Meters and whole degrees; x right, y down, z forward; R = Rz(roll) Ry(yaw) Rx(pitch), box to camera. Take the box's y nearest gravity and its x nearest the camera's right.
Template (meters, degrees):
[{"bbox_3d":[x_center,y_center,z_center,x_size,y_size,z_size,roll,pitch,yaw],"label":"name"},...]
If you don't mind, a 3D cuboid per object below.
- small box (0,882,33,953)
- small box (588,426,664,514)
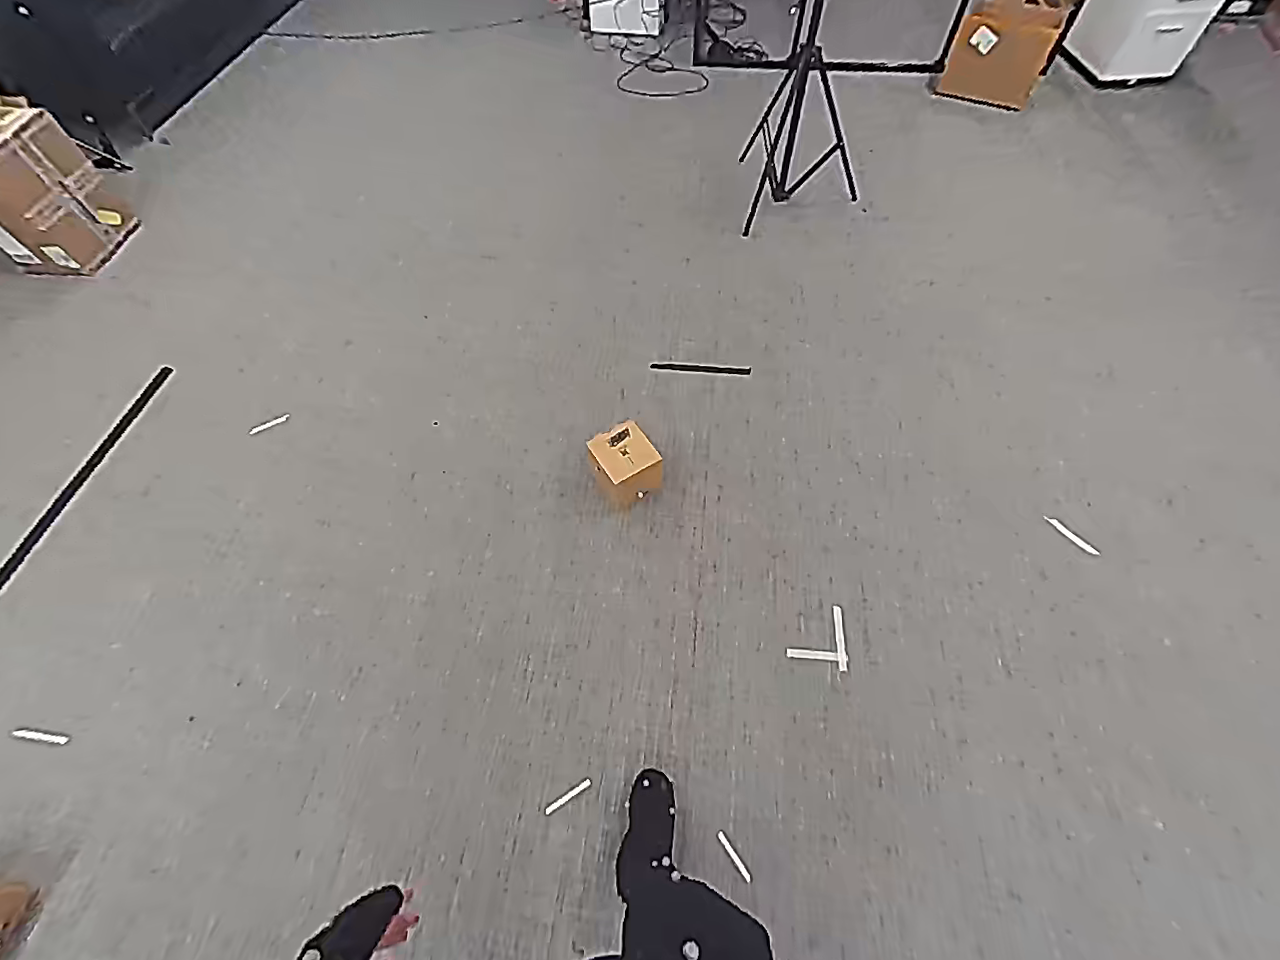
[{"bbox_3d":[-1.434,0.926,1.095,0.179,0.176,0.168,6,59,4],"label":"small box"},{"bbox_3d":[-0.043,-0.029,1.665,0.168,0.176,0.179,-29,62,-15],"label":"small box"}]
